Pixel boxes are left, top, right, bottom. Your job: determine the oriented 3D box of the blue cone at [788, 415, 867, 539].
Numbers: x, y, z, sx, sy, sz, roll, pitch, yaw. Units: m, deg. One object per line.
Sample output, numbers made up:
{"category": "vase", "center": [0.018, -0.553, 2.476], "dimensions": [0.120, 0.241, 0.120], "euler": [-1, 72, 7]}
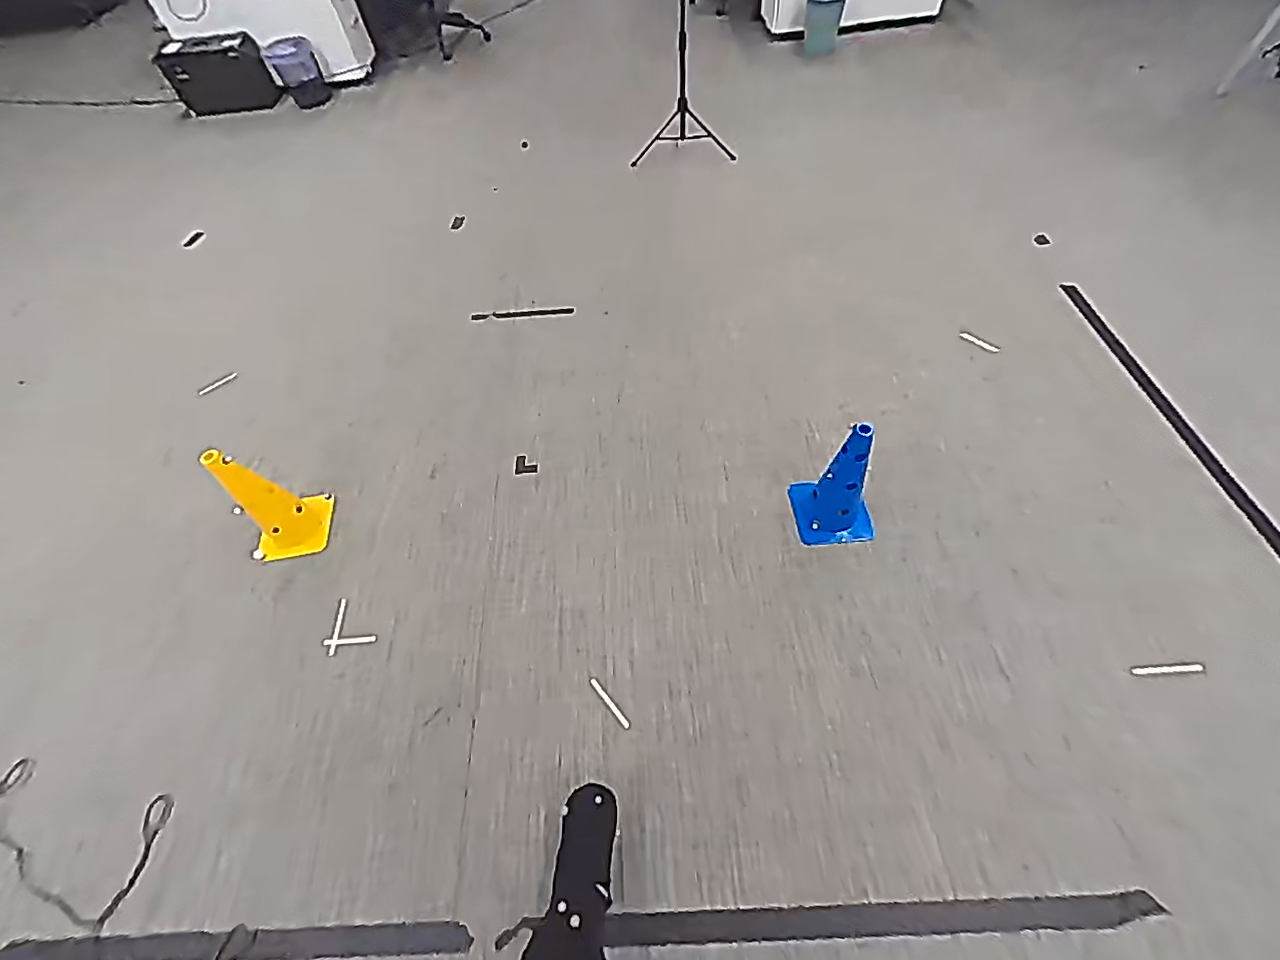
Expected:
{"category": "blue cone", "center": [0.509, -0.018, 1.369], "dimensions": [0.193, 0.380, 0.192], "euler": [-4, 54, 2]}
